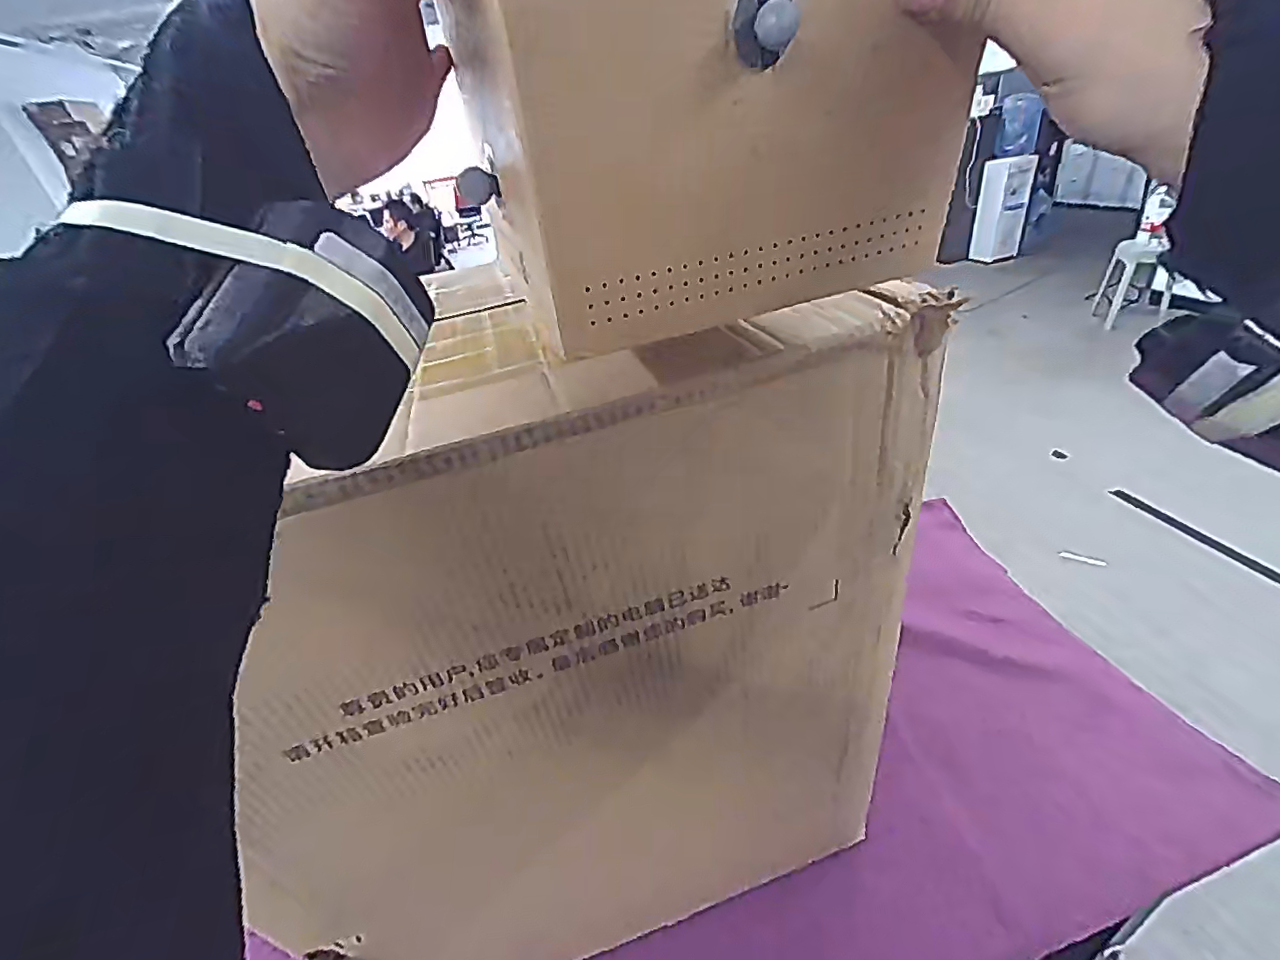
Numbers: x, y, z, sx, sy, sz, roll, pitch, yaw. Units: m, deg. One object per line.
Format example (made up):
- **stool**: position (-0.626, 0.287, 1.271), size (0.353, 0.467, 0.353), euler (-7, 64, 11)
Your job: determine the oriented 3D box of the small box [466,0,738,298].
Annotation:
- **small box**: position (-0.032, -0.264, 0.452), size (0.179, 0.176, 0.168), euler (-16, 33, -8)
